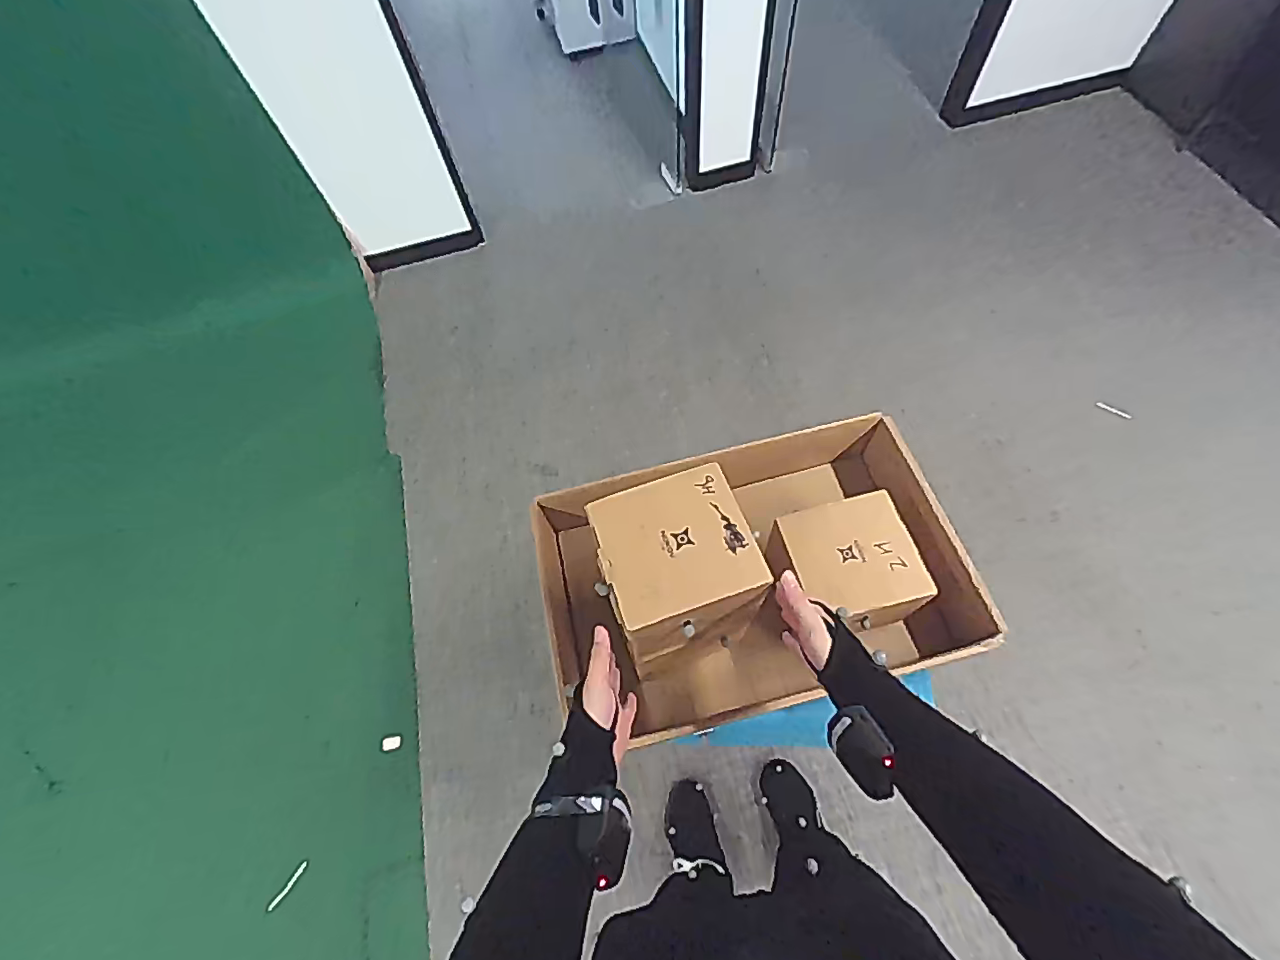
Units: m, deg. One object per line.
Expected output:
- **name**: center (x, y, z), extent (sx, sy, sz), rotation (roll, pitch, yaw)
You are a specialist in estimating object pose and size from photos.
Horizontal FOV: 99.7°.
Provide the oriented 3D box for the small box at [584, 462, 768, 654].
- **small box**: center (0.044, 0.108, 0.694), extent (0.179, 0.176, 0.168), rotation (-18, 62, -5)
